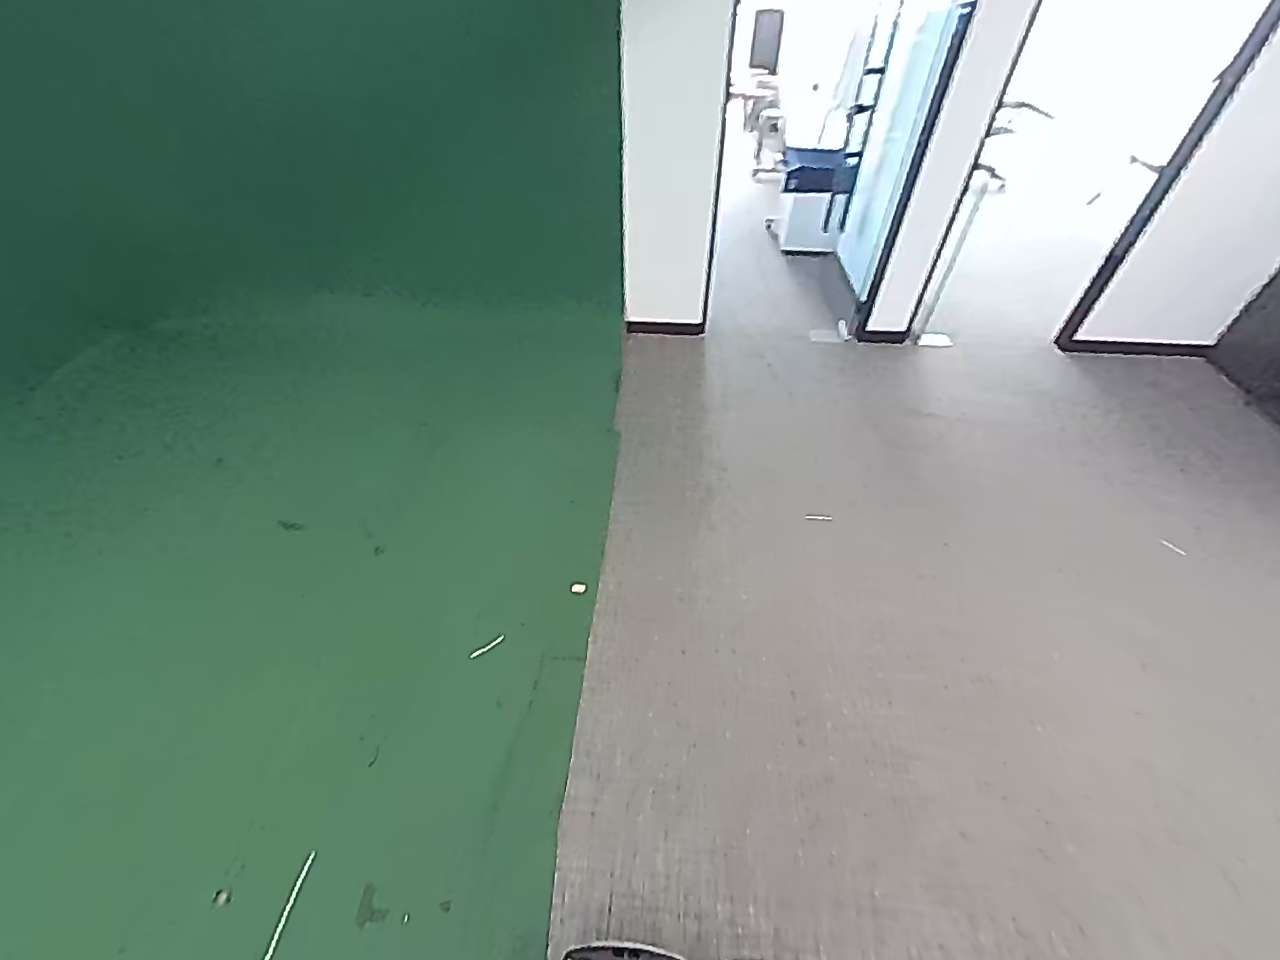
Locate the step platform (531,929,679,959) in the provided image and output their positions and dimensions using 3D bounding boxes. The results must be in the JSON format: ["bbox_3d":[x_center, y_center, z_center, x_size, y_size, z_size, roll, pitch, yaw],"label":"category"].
[{"bbox_3d":[-0.080,1.147,0.837,0.286,0.204,0.684,3,47,1],"label":"step platform"}]
